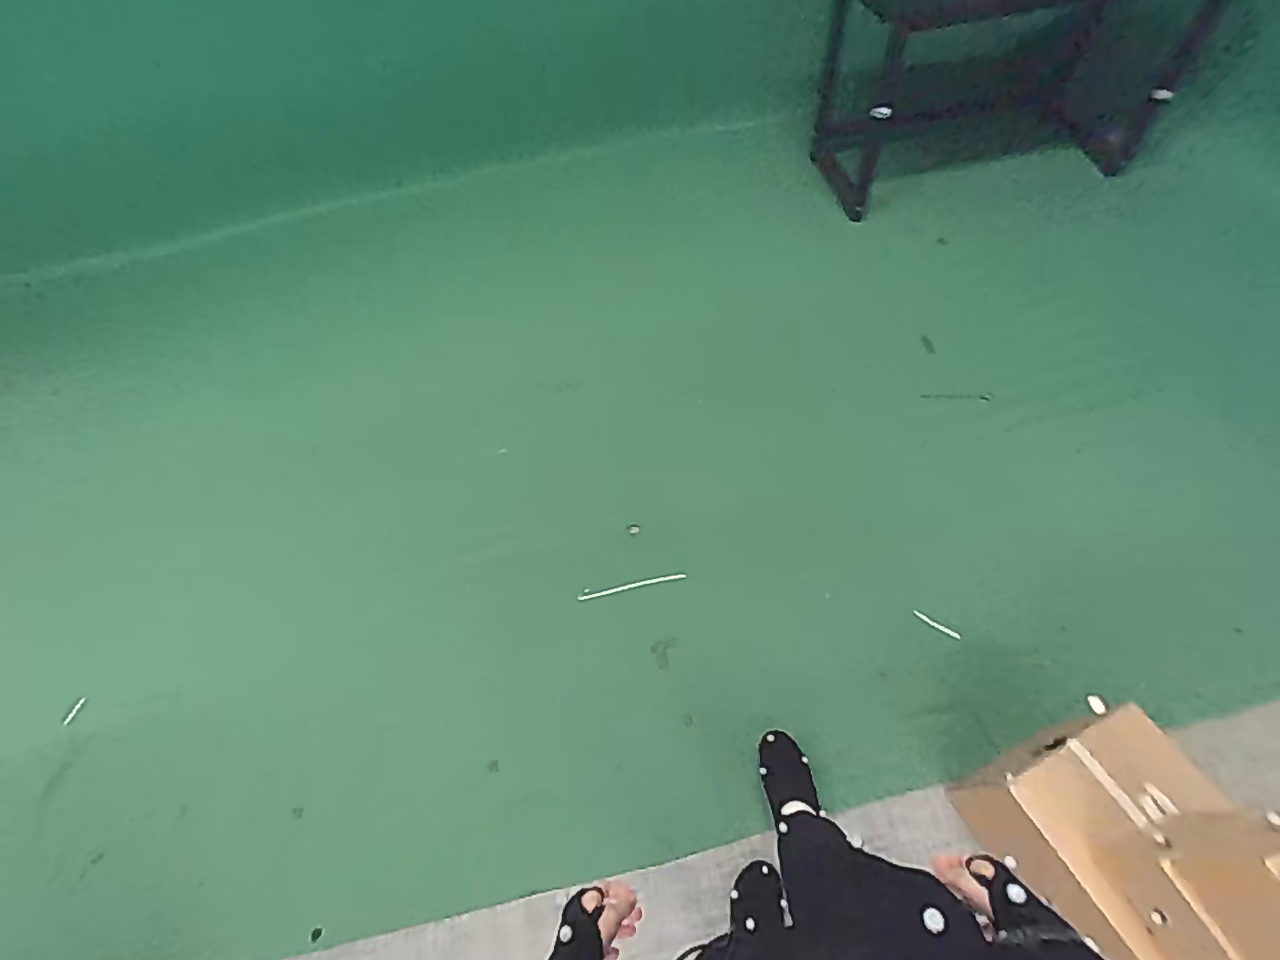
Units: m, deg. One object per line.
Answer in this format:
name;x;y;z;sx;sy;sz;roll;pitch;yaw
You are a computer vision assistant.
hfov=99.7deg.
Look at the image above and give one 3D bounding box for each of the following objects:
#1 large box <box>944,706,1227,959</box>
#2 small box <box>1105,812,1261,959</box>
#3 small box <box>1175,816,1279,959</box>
large box;0.890;0.716;1.025;0.320;0.320;0.408;-24;57;-10
small box;0.850;0.616;0.800;0.179;0.176;0.168;-20;58;-6
small box;0.842;0.531;0.663;0.168;0.176;0.179;-19;58;-6
